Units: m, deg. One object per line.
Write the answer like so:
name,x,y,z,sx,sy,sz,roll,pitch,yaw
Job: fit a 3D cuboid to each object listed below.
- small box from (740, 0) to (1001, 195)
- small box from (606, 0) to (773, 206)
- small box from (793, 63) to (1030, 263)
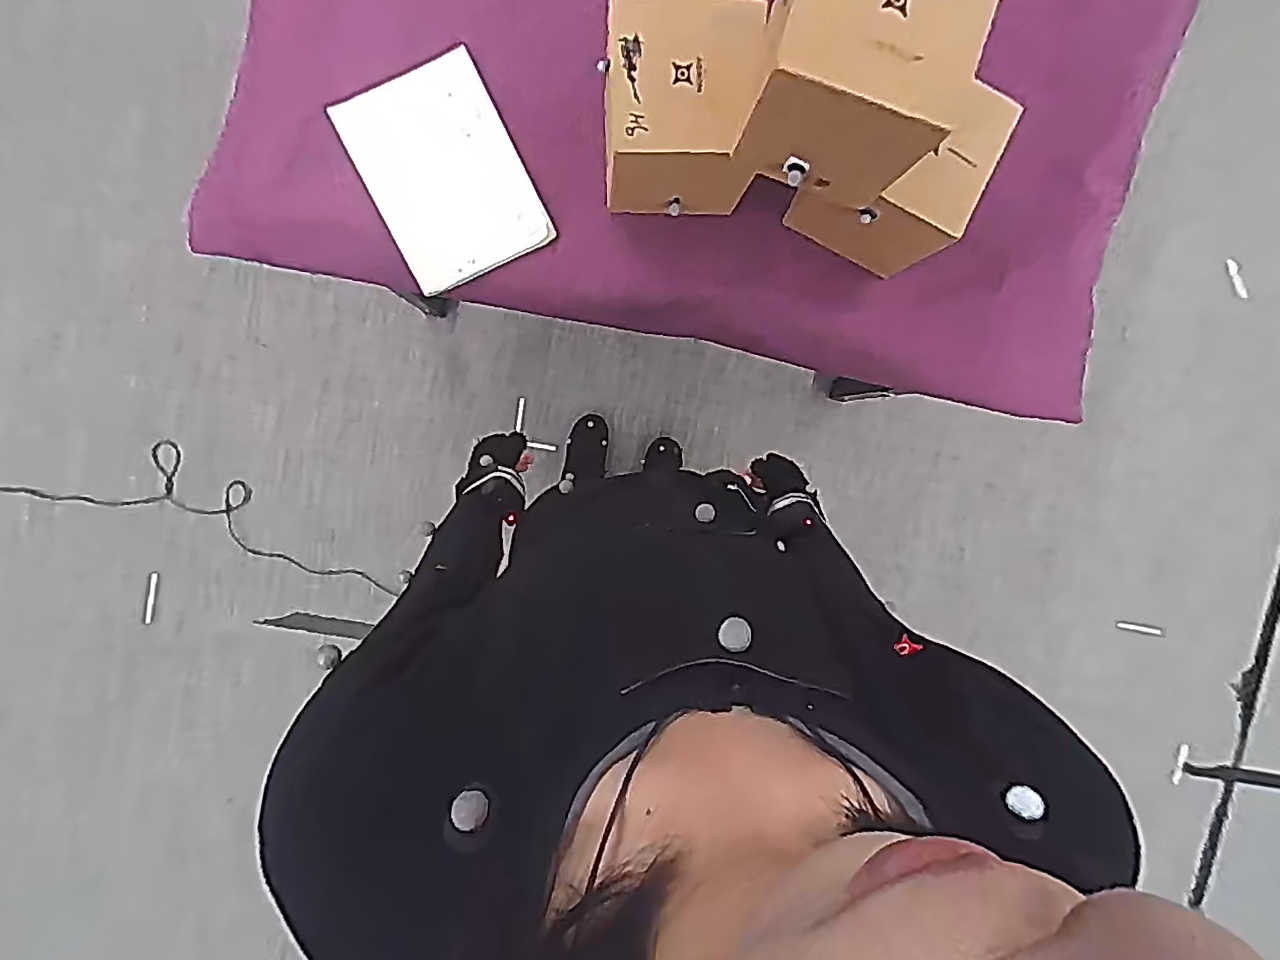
small box,0.207,-0.411,0.511,0.168,0.176,0.179,16,94,-4
small box,0.050,-0.453,0.659,0.179,0.176,0.168,-2,94,-5
small box,0.323,-0.403,0.682,0.179,0.176,0.168,25,93,-6
